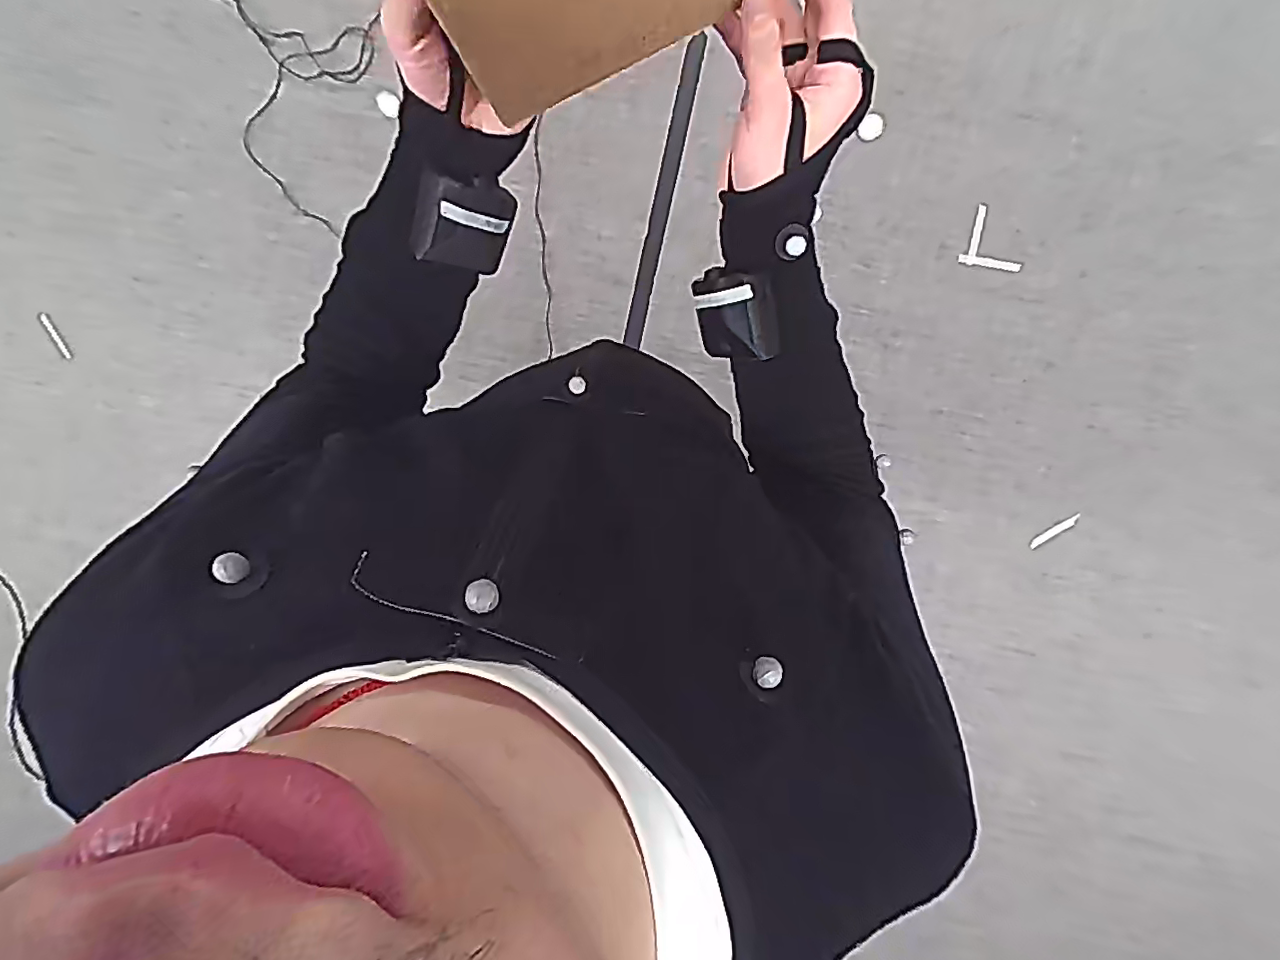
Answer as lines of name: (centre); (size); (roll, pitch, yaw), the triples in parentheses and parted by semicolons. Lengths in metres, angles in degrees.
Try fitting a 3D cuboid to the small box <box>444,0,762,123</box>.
small box: (-0.022, -0.281, 0.203); (0.179, 0.176, 0.168); (-25, 104, 5)
